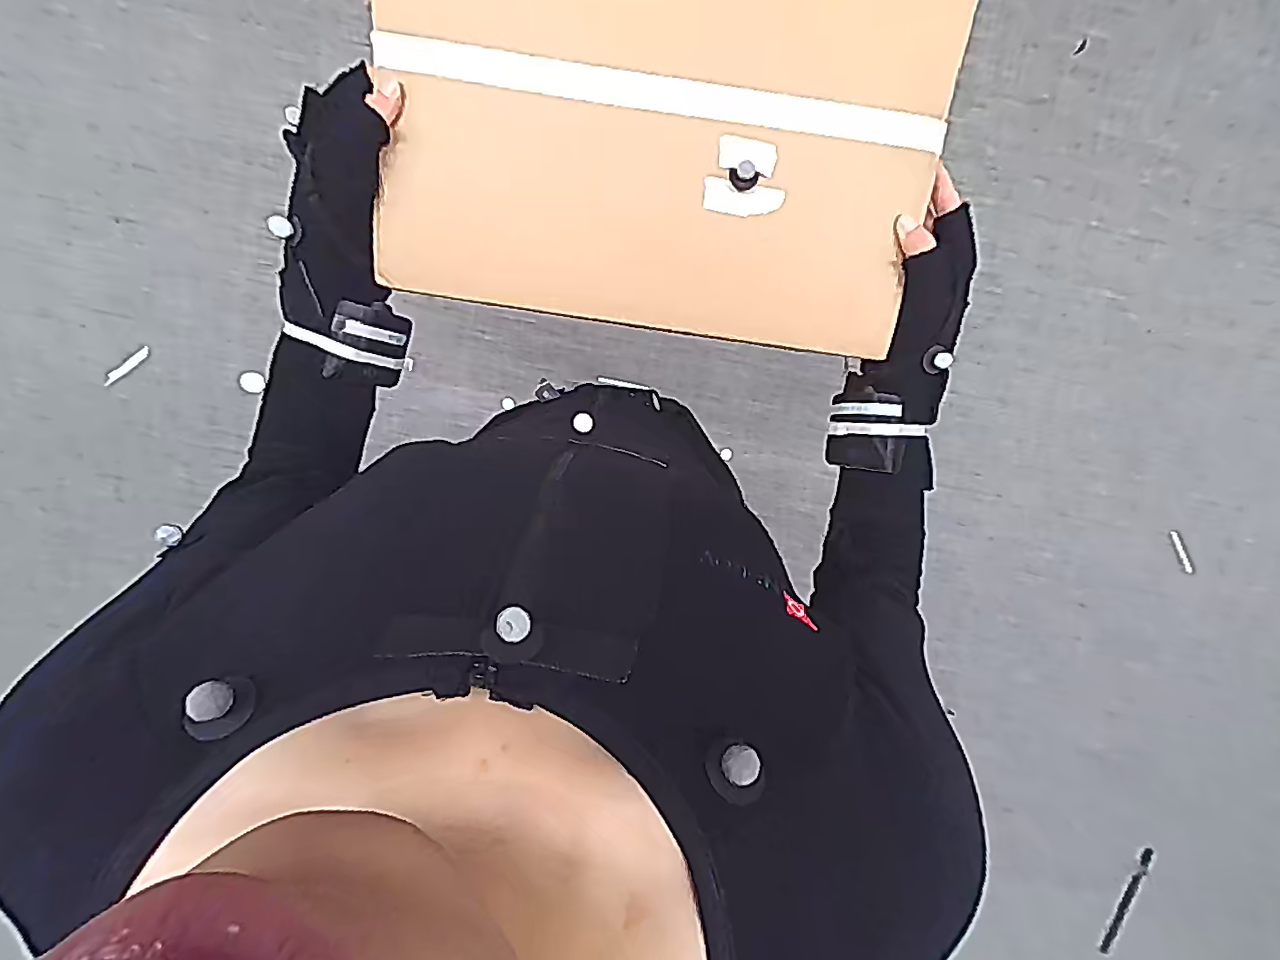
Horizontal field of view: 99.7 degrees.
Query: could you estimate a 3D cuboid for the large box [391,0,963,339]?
[{"bbox_3d":[0.018,-0.321,0.536,0.408,0.320,0.320,8,106,-2],"label":"large box"}]
